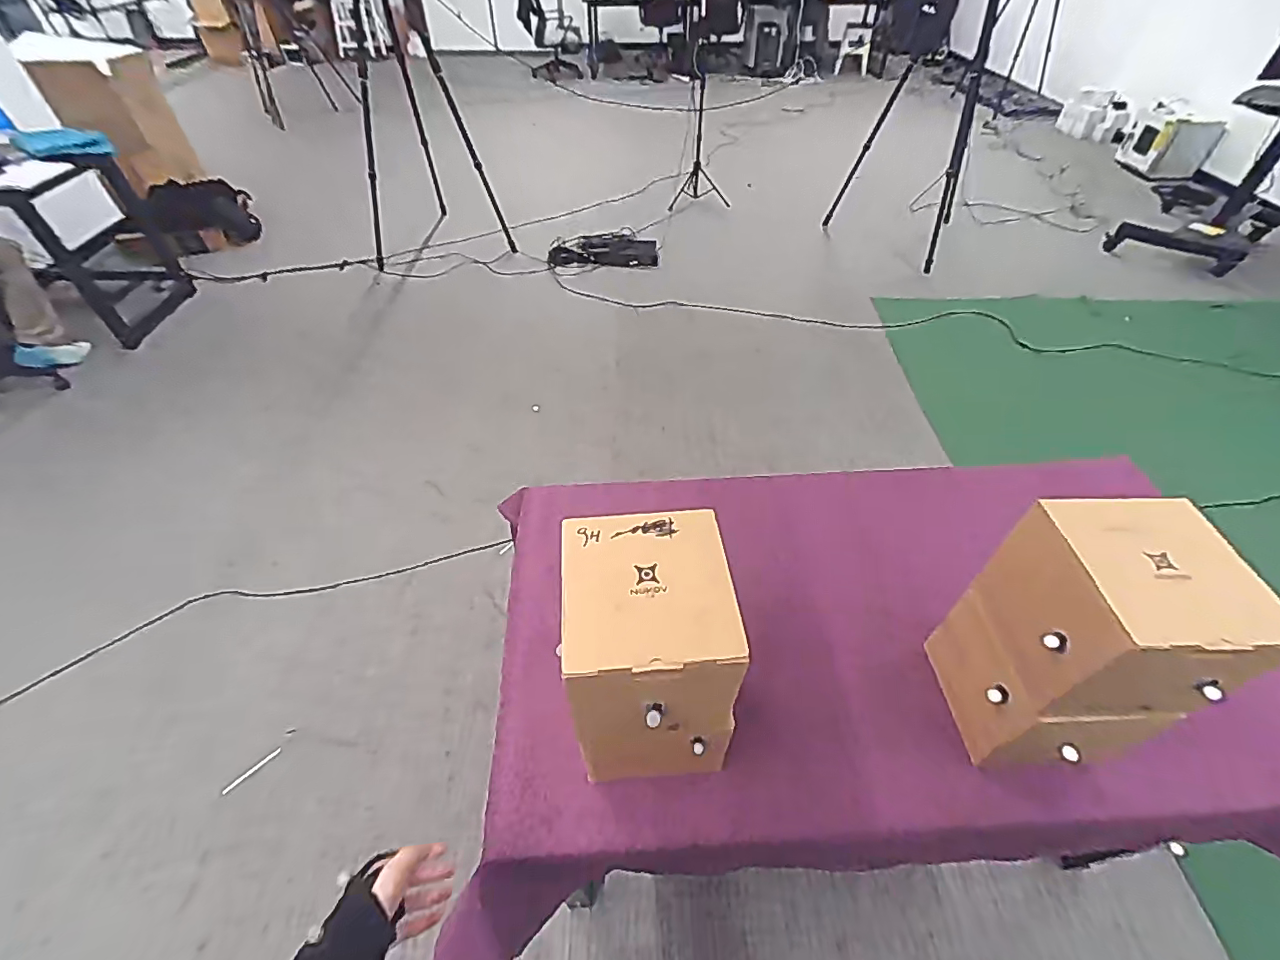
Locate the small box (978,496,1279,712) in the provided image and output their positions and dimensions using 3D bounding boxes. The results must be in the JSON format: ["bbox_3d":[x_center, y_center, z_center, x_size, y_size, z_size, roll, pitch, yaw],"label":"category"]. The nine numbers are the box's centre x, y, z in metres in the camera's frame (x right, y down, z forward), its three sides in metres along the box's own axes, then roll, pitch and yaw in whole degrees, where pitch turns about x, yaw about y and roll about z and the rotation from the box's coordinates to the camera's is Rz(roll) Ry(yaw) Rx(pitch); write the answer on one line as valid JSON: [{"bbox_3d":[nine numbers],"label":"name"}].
[{"bbox_3d":[0.512,0.137,0.586,0.168,0.176,0.179,0,46,1],"label":"small box"}]

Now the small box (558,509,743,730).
[{"bbox_3d":[0.005,0.155,0.582,0.168,0.176,0.179,-4,47,-3],"label":"small box"}]

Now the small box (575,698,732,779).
[{"bbox_3d":[0.012,0.270,0.699,0.179,0.176,0.168,-3,46,-3],"label":"small box"}]

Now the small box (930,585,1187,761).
[{"bbox_3d":[0.515,0.252,0.701,0.168,0.176,0.179,-1,46,0],"label":"small box"}]
